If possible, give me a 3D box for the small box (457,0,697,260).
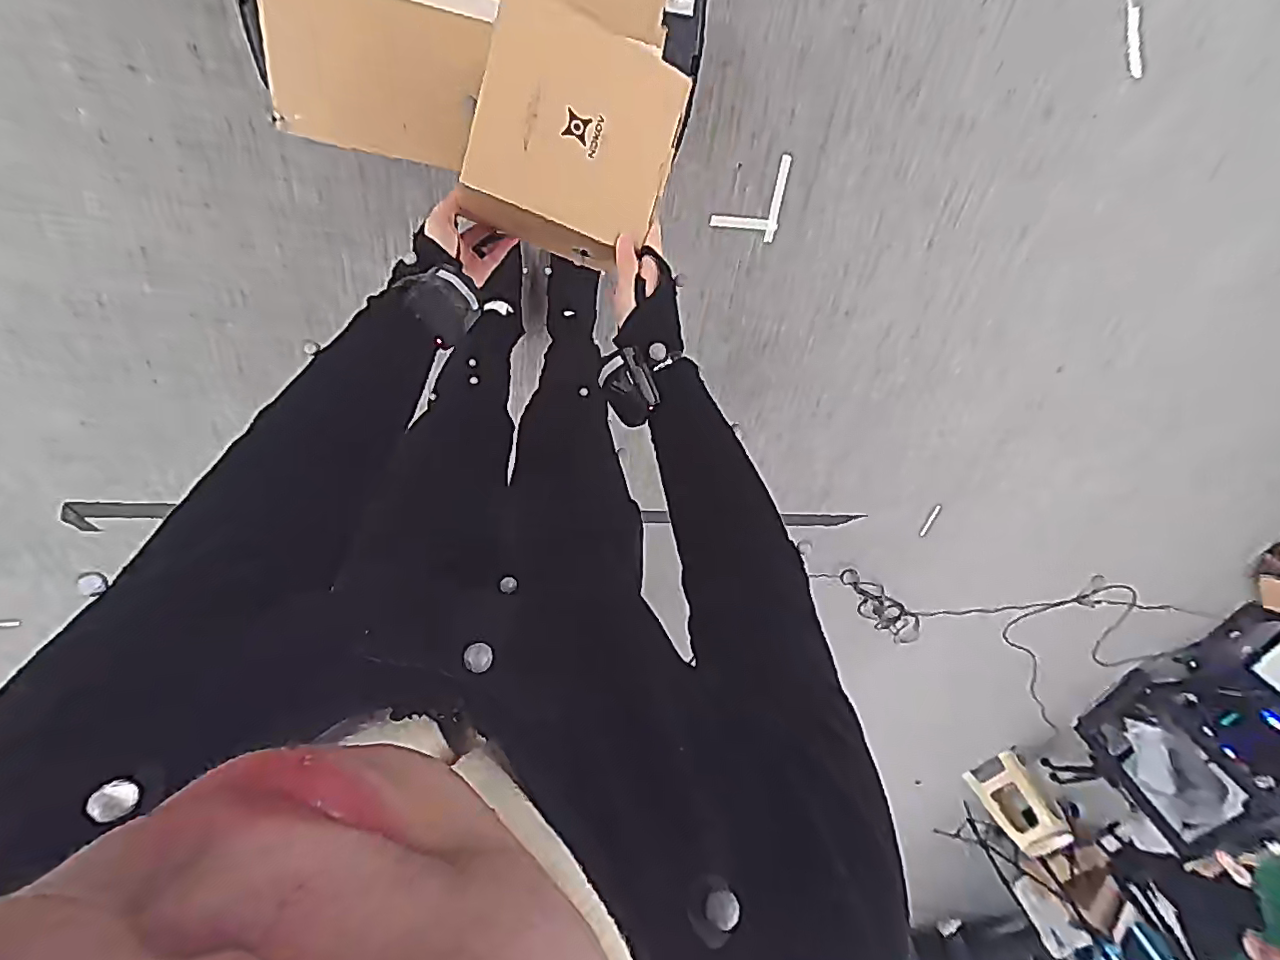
[{"bbox_3d":[-0.075,-0.333,0.542,0.179,0.176,0.168,14,101,-23],"label":"small box"}]

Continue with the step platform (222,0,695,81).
[{"bbox_3d":[-0.259,-0.714,0.863,0.684,0.204,0.286,7,125,-16],"label":"step platform"}]
